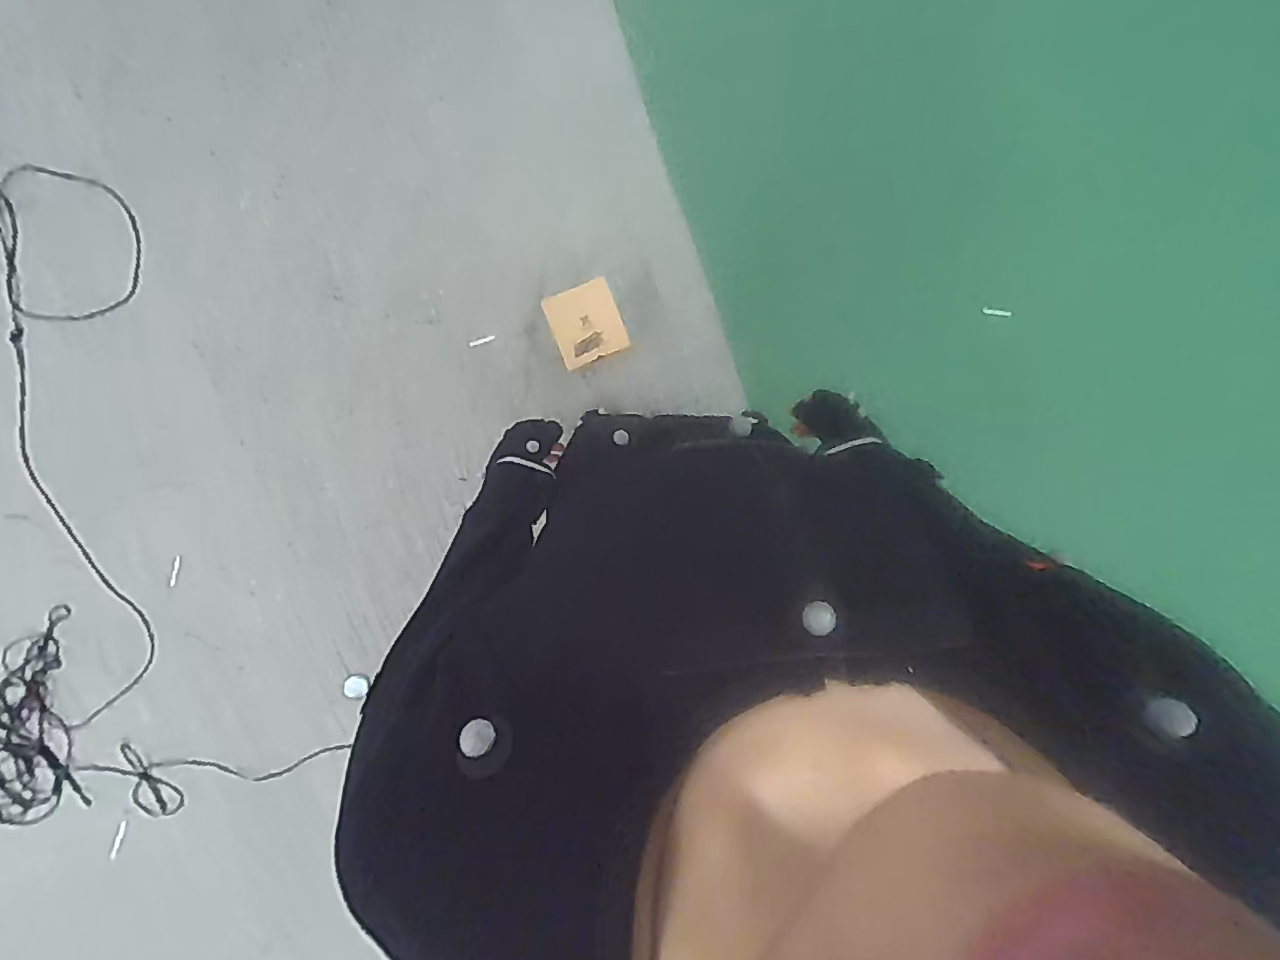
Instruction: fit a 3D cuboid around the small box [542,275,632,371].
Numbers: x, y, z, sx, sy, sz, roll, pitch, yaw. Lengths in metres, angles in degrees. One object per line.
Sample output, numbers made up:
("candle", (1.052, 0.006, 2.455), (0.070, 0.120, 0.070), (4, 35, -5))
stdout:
("small box", (-0.123, -0.382, 1.351), (0.168, 0.176, 0.179), (-21, 96, 3))
